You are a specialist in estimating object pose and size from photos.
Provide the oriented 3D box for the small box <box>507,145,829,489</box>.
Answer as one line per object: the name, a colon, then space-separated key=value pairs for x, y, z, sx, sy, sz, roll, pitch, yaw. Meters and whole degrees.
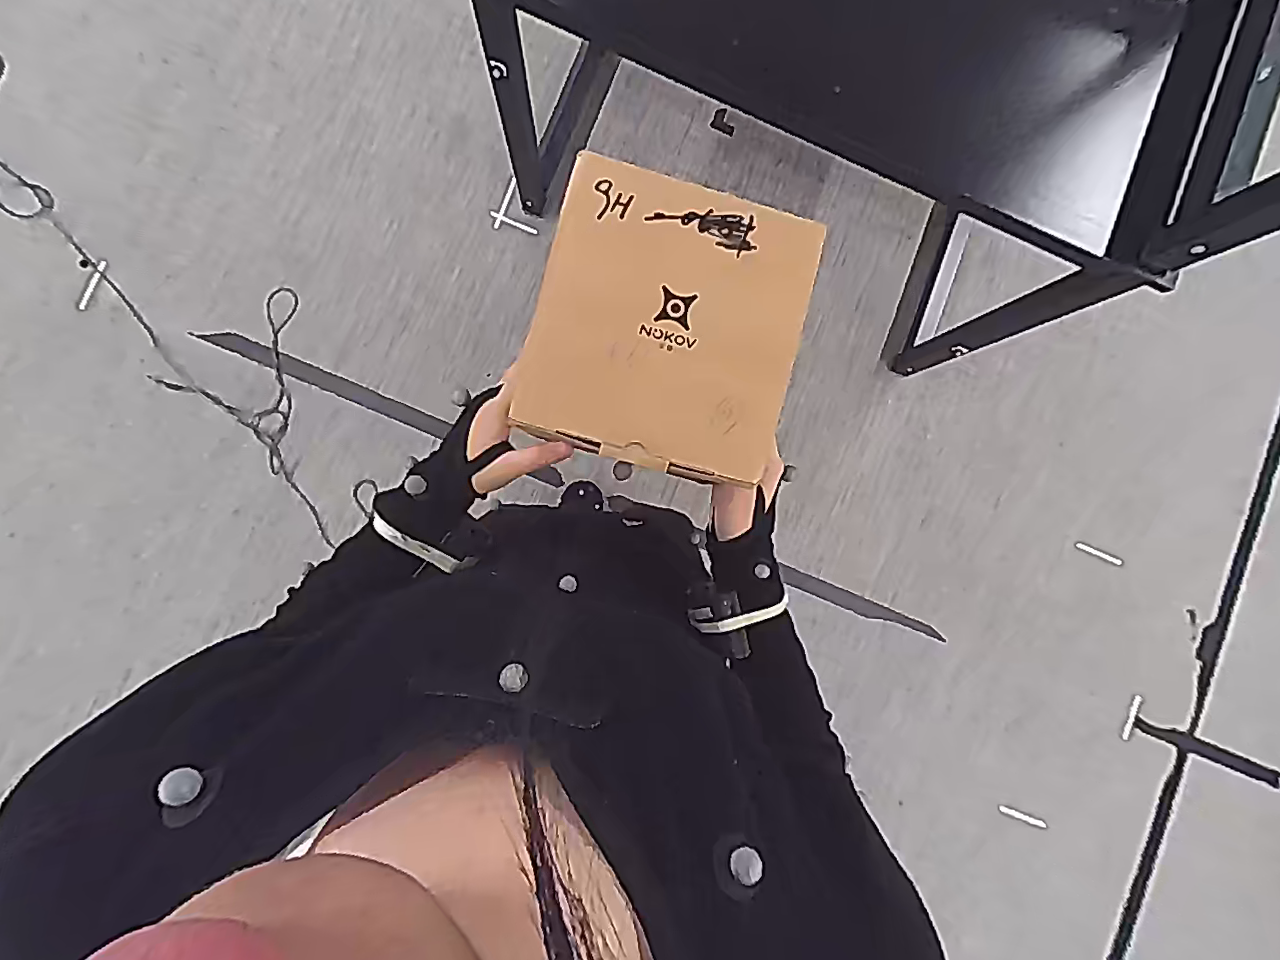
small box: x=0.012 y=-0.101 z=0.411 sx=0.168 sy=0.176 sz=0.179 roll=15 pitch=90 yaw=-6
